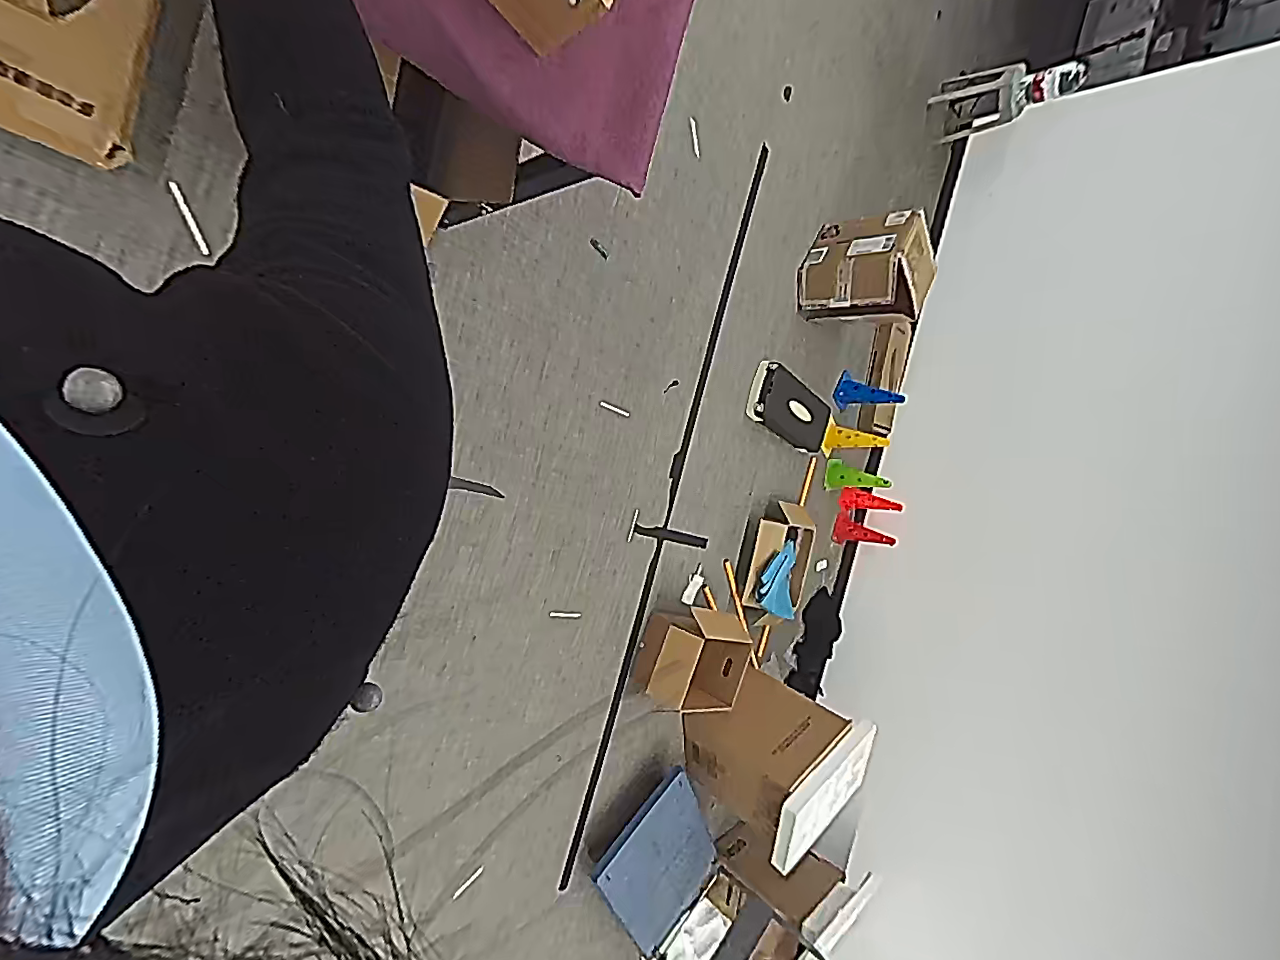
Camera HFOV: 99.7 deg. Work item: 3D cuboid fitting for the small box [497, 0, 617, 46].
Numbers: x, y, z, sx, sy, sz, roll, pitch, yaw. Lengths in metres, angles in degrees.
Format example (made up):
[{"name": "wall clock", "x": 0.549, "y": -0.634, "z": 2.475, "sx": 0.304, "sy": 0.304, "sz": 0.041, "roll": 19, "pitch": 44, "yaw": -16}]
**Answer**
[{"name": "small box", "x": -0.120, "y": -0.730, "z": 0.708, "sx": 0.179, "sy": 0.176, "sz": 0.168, "roll": 24, "pitch": 83, "yaw": -46}]
